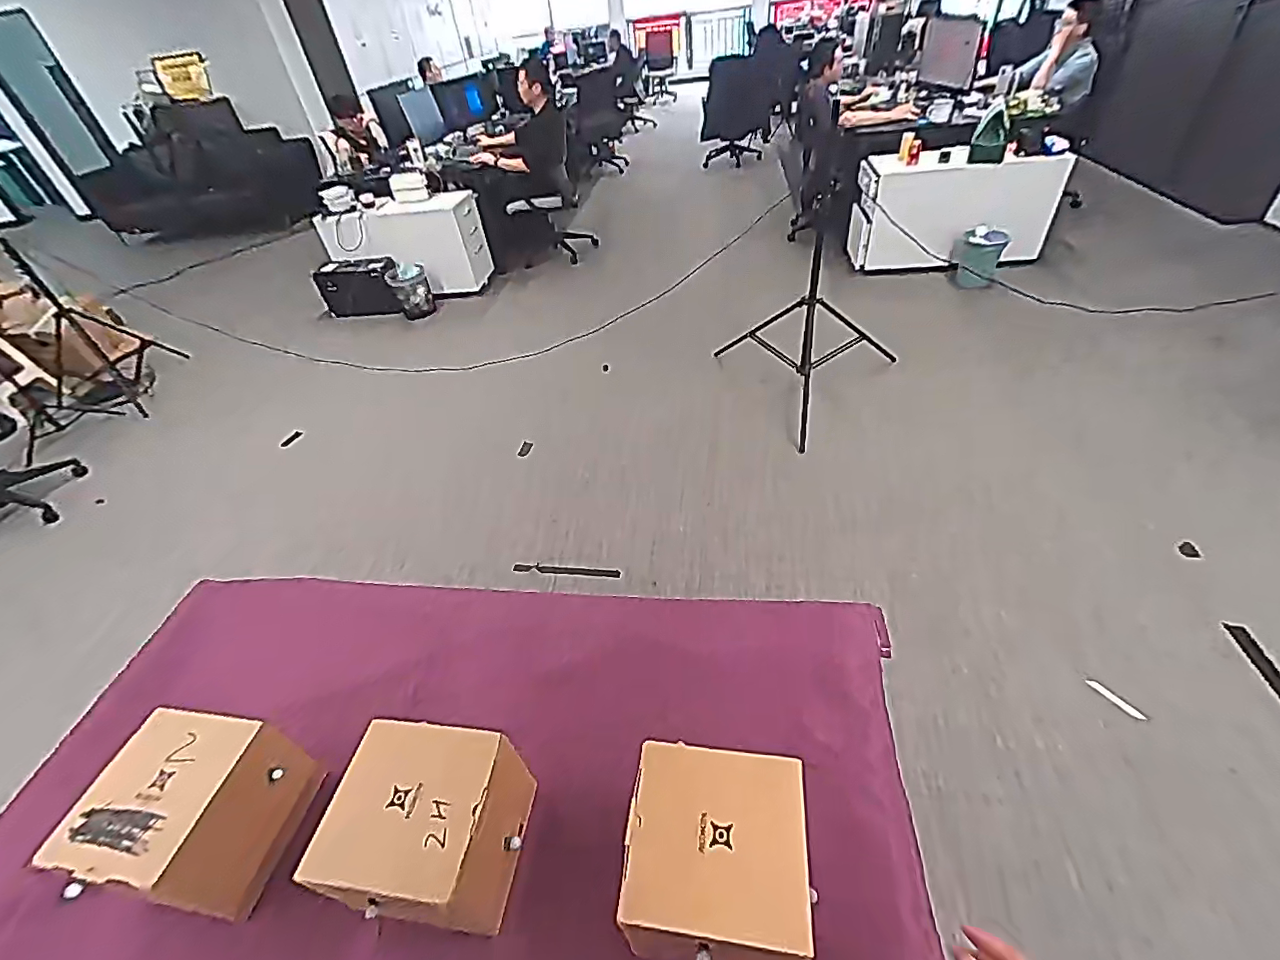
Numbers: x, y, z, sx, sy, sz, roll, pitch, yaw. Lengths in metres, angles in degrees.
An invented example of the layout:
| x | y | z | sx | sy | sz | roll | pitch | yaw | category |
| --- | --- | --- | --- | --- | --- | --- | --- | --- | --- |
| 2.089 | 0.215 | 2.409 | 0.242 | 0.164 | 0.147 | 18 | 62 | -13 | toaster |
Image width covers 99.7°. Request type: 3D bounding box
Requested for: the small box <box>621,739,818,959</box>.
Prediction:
| x | y | z | sx | sy | sz | roll | pitch | yaw | category |
| --- | --- | --- | --- | --- | --- | --- | --- | --- | --- |
| 0.089 | 0.409 | 0.588 | 0.179 | 0.176 | 0.168 | 1 | 41 | 11 | small box |

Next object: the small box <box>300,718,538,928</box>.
| x | y | z | sx | sy | sz | roll | pitch | yaw | category |
| --- | --- | --- | --- | --- | --- | --- | --- | --- | --- |
| -0.242 | 0.406 | 0.643 | 0.179 | 0.176 | 0.168 | 1 | 43 | 11 | small box |
